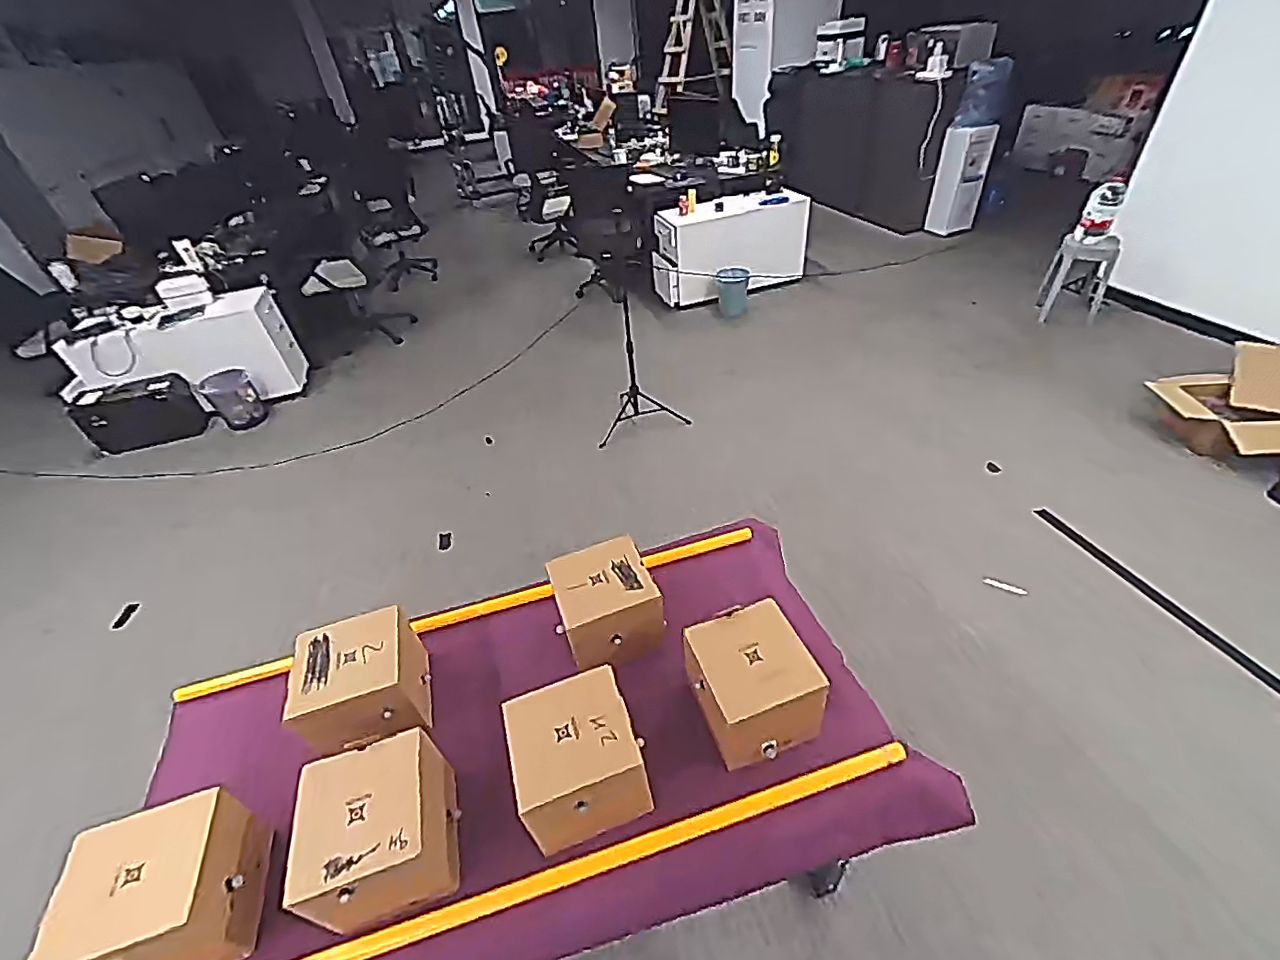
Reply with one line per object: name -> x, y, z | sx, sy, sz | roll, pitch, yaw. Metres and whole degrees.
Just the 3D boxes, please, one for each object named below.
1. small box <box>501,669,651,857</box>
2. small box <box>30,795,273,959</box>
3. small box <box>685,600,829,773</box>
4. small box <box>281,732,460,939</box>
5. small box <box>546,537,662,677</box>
small box -> -0.094, 0.427, 0.816 | 0.179, 0.176, 0.168 | -17, 39, -12
small box -> -0.636, 0.570, 0.731 | 0.179, 0.176, 0.168 | -16, 40, -12
small box -> 0.183, 0.334, 0.881 | 0.168, 0.176, 0.179 | -18, 39, -10
small box -> -0.366, 0.502, 0.769 | 0.168, 0.176, 0.179 | -17, 40, -9
small box -> -0.064, 0.243, 1.029 | 0.179, 0.176, 0.168 | -18, 42, -11
